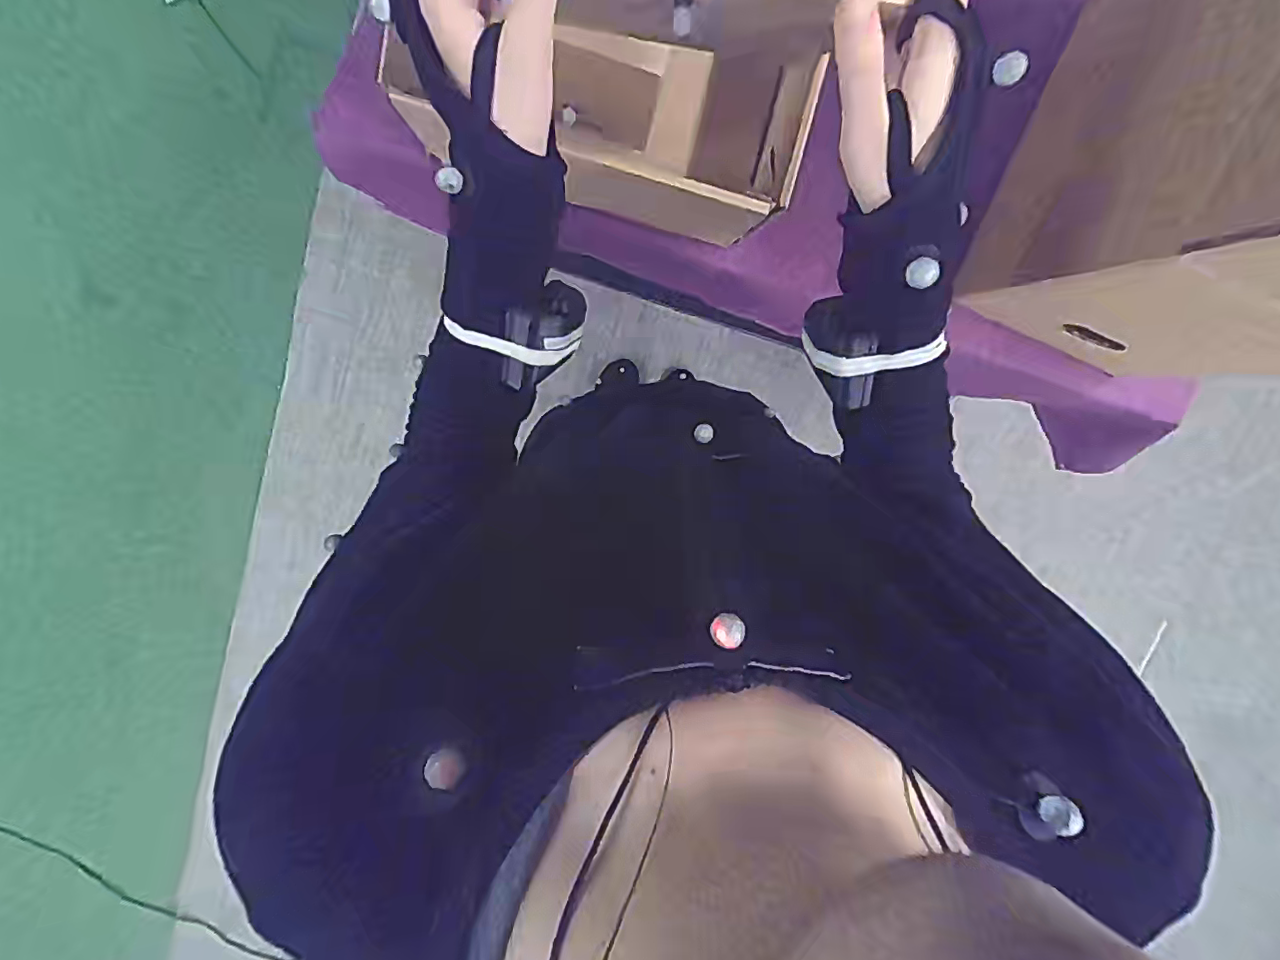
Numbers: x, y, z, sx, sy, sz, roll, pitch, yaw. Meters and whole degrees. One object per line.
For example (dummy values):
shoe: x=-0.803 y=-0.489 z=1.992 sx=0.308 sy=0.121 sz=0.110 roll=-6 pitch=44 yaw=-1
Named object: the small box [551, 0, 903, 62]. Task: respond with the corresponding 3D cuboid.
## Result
small box: x=0.039 y=-0.322 z=0.257 sx=0.179 sy=0.176 sz=0.168 roll=6 pitch=121 yaw=-7
